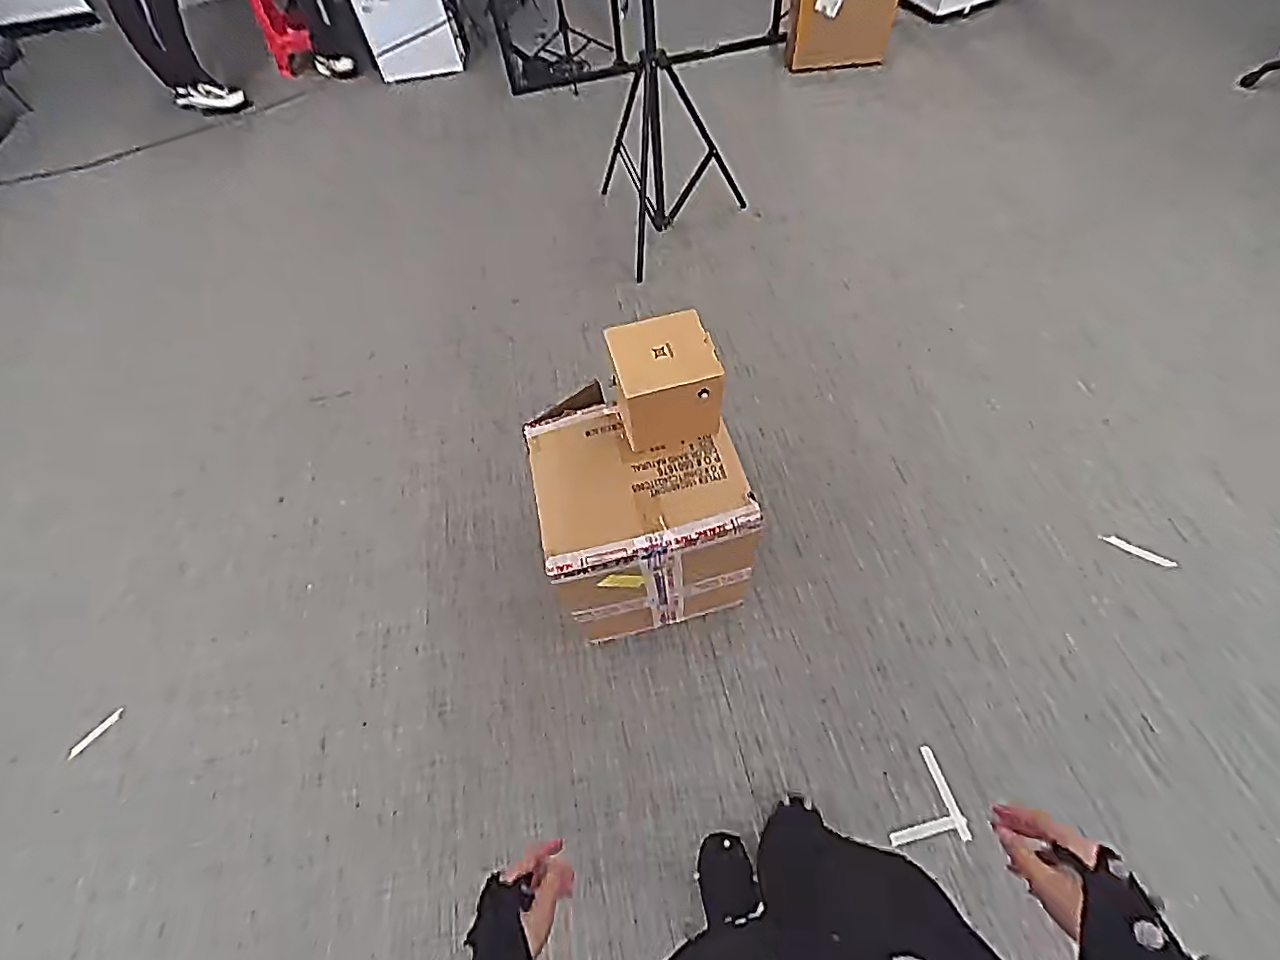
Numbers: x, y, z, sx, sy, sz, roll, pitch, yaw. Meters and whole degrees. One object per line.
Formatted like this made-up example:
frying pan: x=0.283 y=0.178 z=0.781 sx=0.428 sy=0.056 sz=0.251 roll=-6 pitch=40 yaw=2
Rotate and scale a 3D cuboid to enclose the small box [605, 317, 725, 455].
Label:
small box: x=0.045 y=-0.168 z=1.004 sx=0.179 sy=0.176 sz=0.168 roll=-15 pitch=60 yaw=-6
